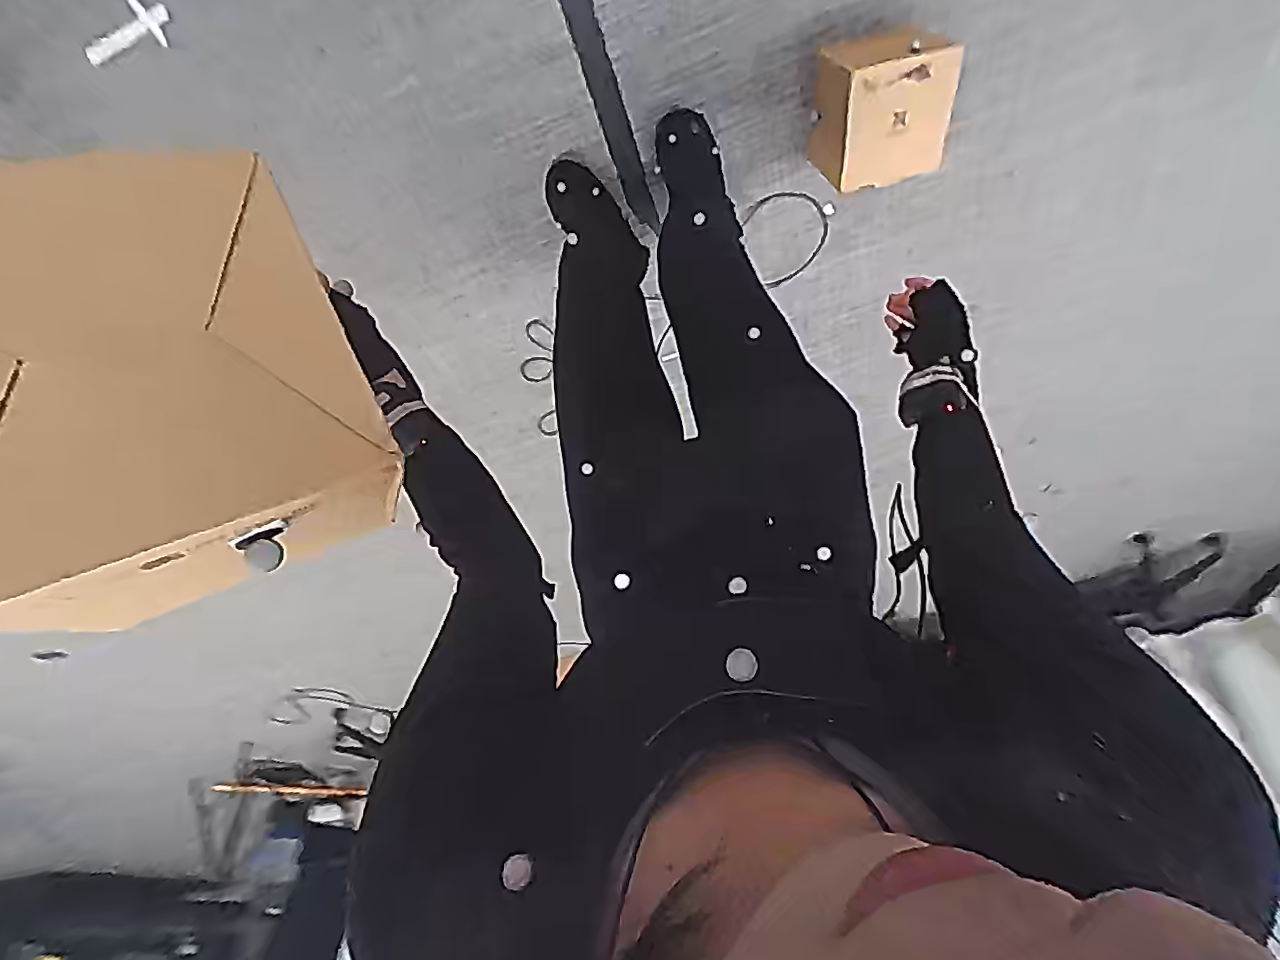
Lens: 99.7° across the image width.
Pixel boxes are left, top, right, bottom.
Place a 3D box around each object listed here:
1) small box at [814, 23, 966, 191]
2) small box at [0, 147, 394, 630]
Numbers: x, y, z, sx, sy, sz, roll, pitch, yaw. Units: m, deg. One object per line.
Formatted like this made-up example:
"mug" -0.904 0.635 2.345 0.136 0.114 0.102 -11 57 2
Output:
"small box" 0.398 -0.618 0.898 0.168 0.176 0.179 -11 138 4
"small box" -0.244 -0.038 0.285 0.168 0.179 0.176 -24 176 -27
